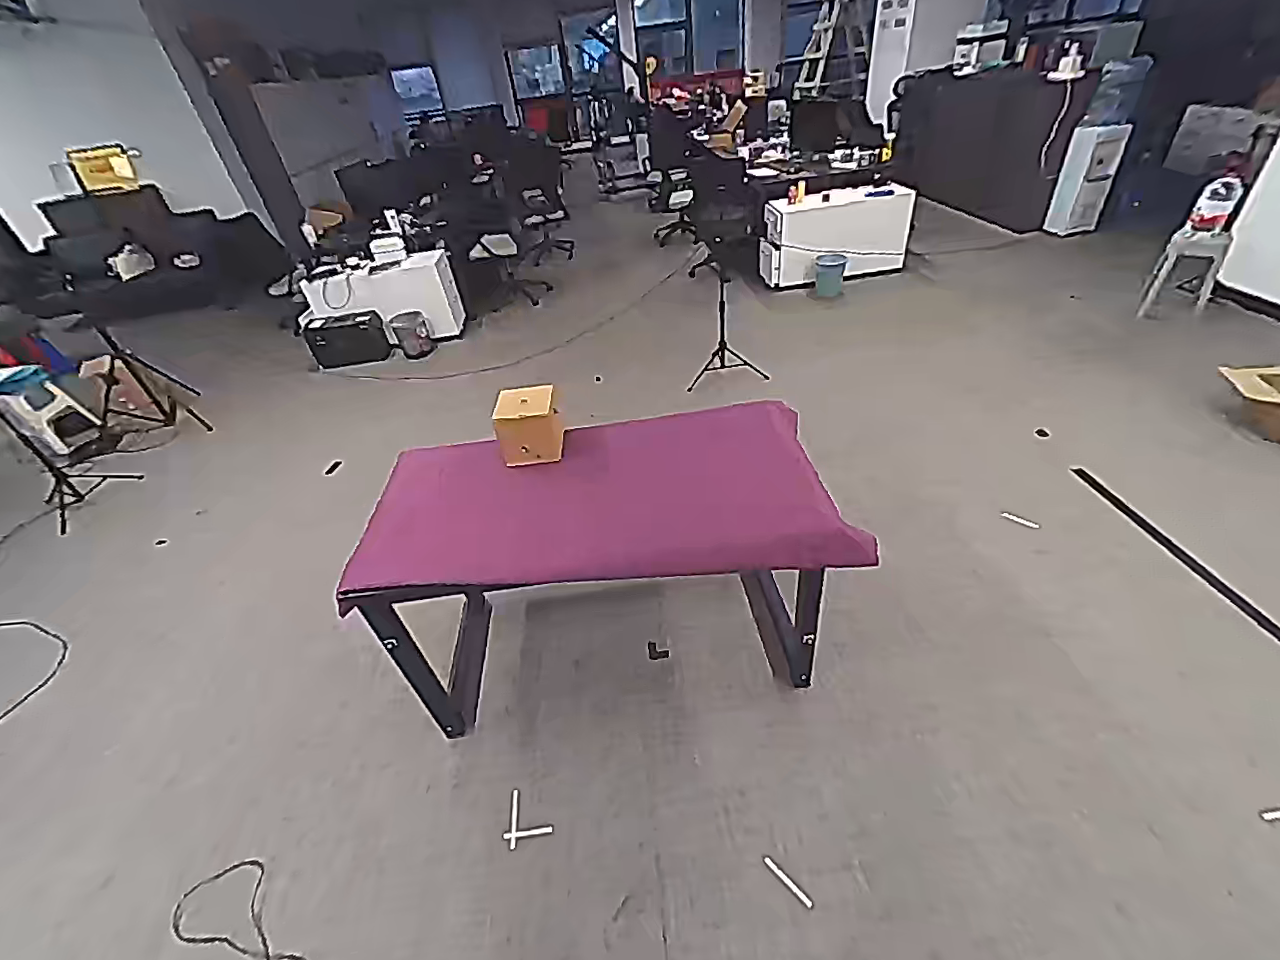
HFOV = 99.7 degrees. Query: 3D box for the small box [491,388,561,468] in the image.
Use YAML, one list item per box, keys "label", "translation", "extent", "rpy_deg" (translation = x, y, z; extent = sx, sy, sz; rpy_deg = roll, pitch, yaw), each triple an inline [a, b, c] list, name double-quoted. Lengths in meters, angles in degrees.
- label: "small box"
  translation: [-0.337, -0.157, 1.640]
  extent: [0.168, 0.176, 0.179]
  rpy_deg: [-6, 38, 2]
